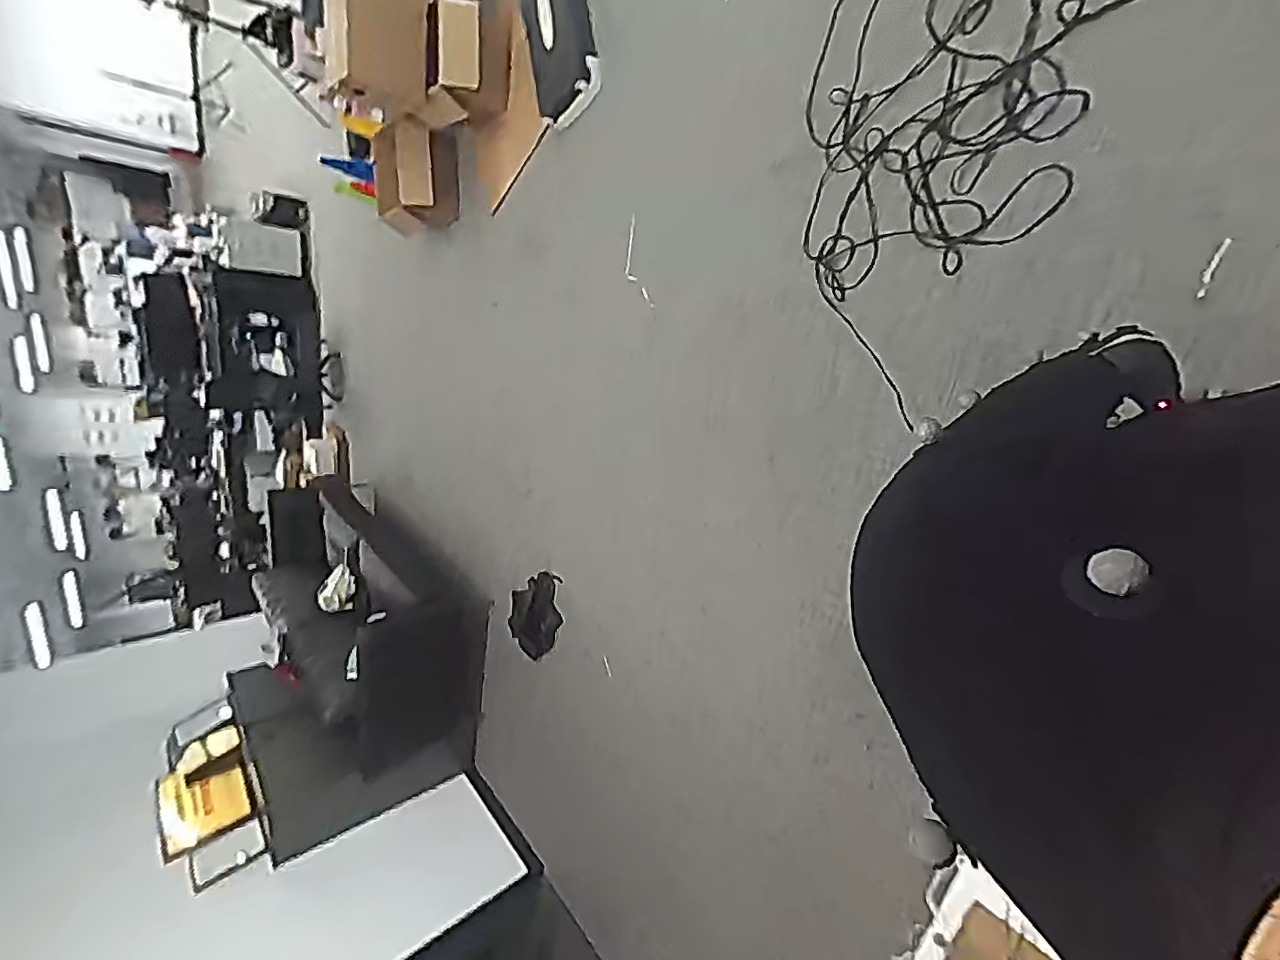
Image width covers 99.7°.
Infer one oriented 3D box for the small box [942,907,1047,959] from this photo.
[{"bbox_3d":[0.456,0.699,0.671,0.179,0.176,0.168,26,113,42],"label":"small box"}]
